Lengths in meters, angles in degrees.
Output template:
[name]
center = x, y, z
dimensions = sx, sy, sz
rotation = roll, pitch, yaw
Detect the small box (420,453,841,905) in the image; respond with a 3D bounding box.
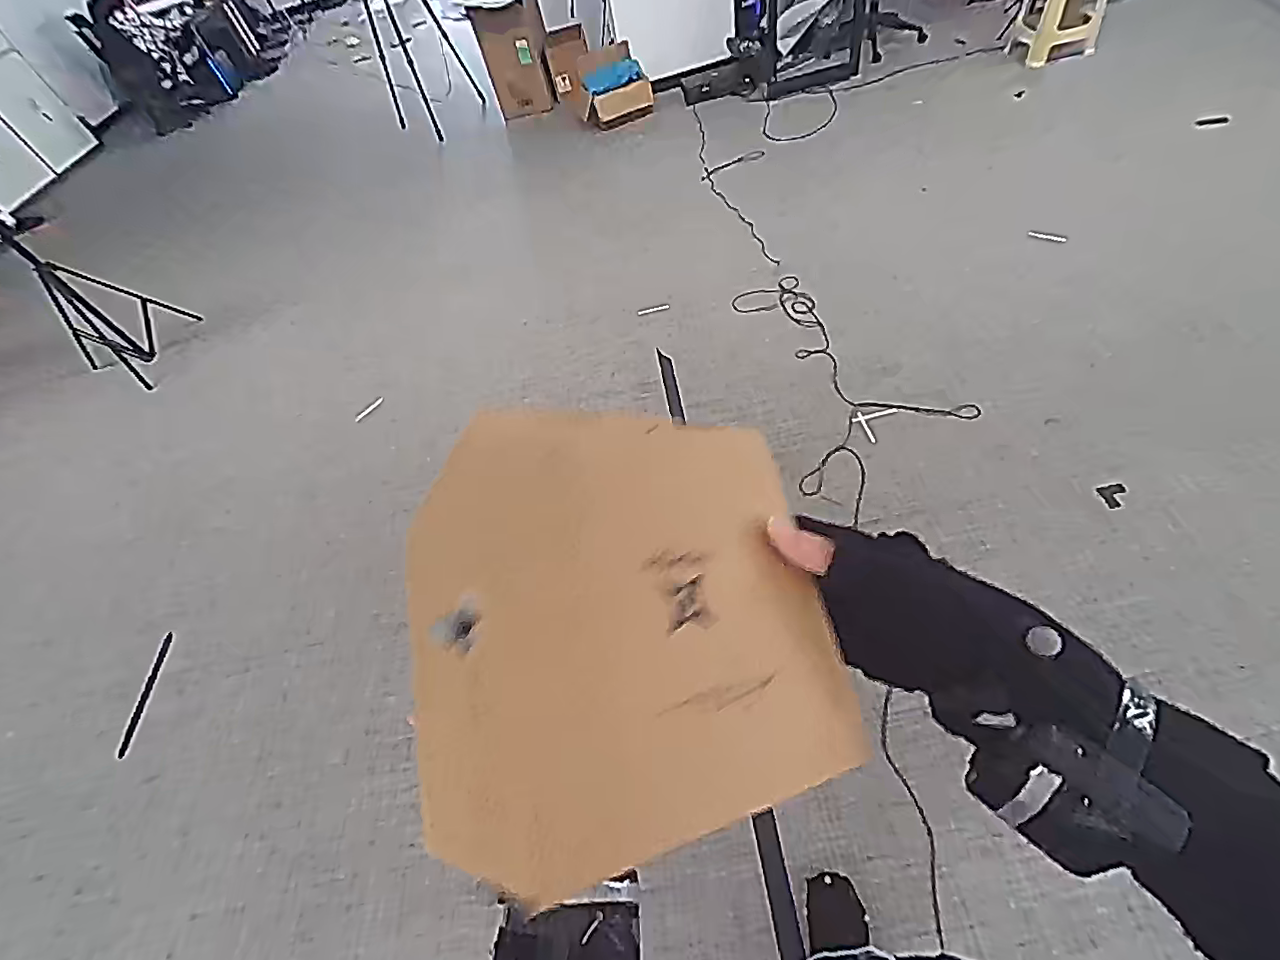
[small box]
center = -0.027, 0.099, 0.315
dimensions = 0.168, 0.176, 0.179
rotation = -3, 67, -29
